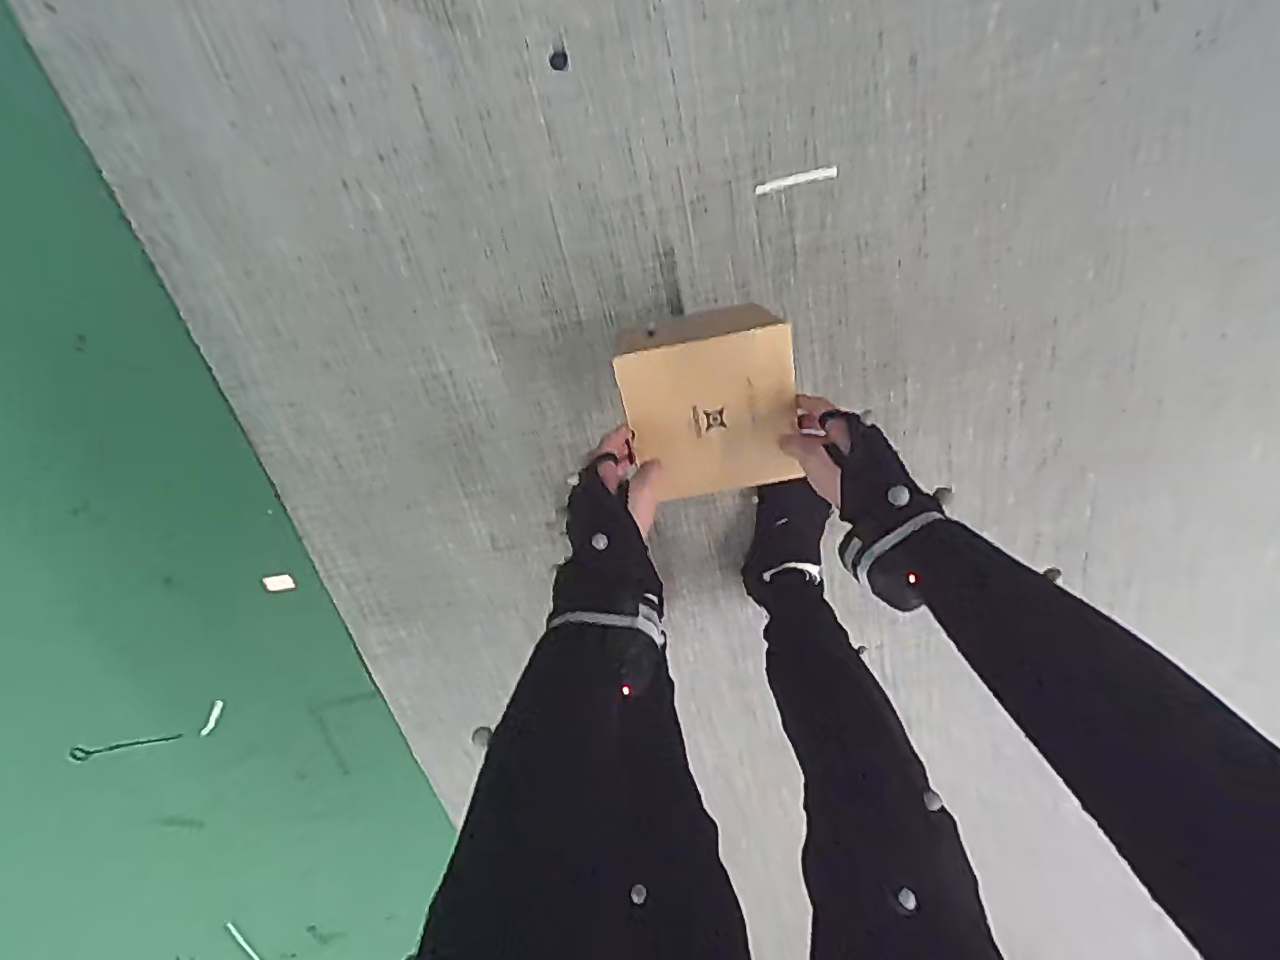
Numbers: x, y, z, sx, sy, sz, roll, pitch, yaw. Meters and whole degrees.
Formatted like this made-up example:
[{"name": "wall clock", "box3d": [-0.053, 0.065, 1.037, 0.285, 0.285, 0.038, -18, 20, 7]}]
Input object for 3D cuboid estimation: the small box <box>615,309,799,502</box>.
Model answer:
[{"name": "small box", "box3d": [0.074, -0.094, 0.628, 0.179, 0.176, 0.168, -10, 115, 4]}]
